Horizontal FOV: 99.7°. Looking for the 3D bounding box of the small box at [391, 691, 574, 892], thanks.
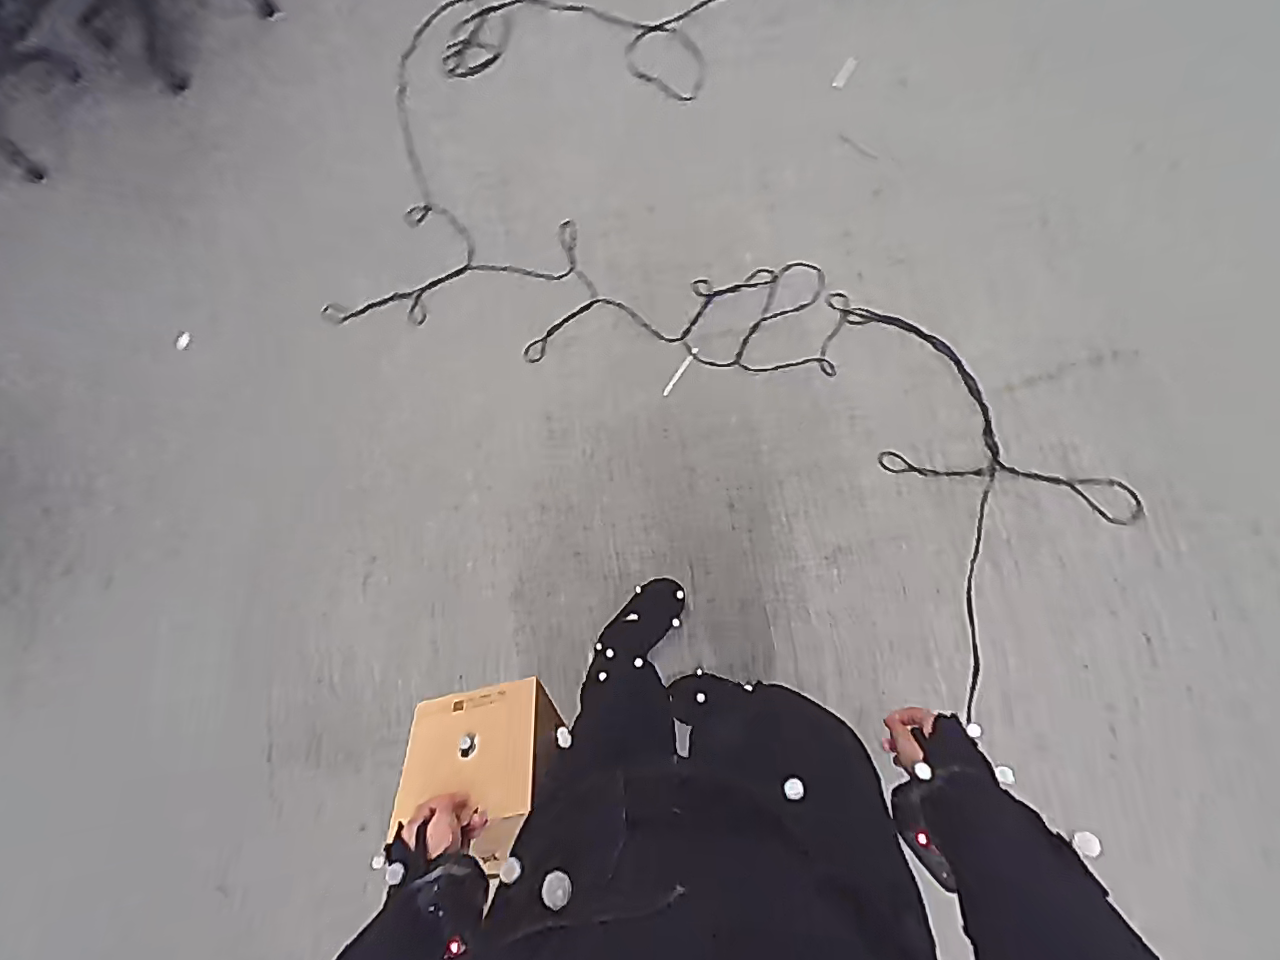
[{"bbox_3d":[-0.187,0.392,0.698,0.168,0.179,0.176,-12,37,3],"label":"small box"}]
